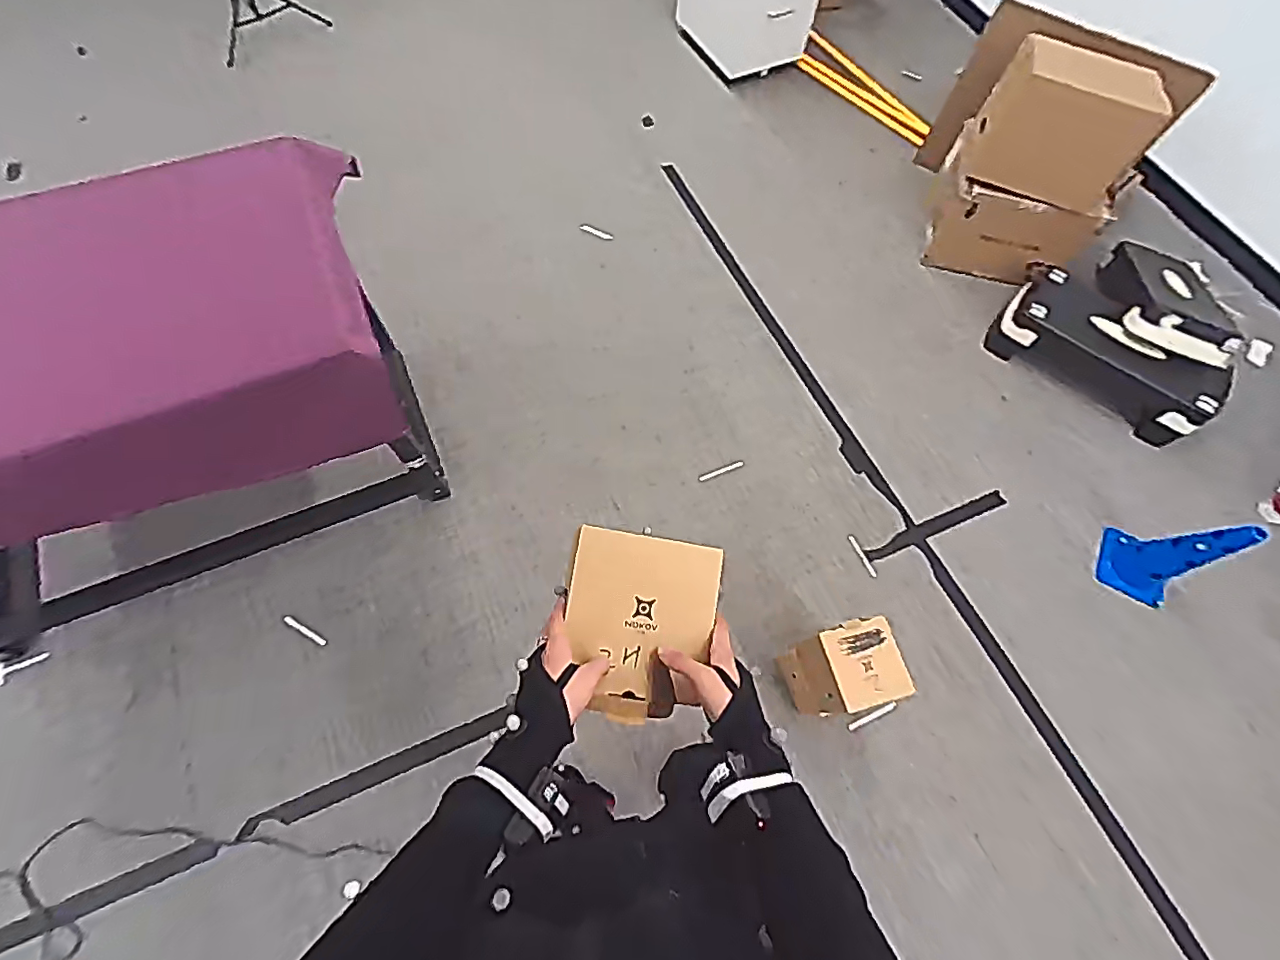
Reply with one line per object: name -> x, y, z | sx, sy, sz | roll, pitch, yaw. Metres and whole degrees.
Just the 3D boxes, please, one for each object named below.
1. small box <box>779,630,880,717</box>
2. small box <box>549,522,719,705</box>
small box -> 0.480, 0.510, 1.412 | 0.179, 0.176, 0.168 | -17, 69, -11
small box -> -0.017, 0.155, 0.667 | 0.168, 0.176, 0.179 | 11, 82, -8
